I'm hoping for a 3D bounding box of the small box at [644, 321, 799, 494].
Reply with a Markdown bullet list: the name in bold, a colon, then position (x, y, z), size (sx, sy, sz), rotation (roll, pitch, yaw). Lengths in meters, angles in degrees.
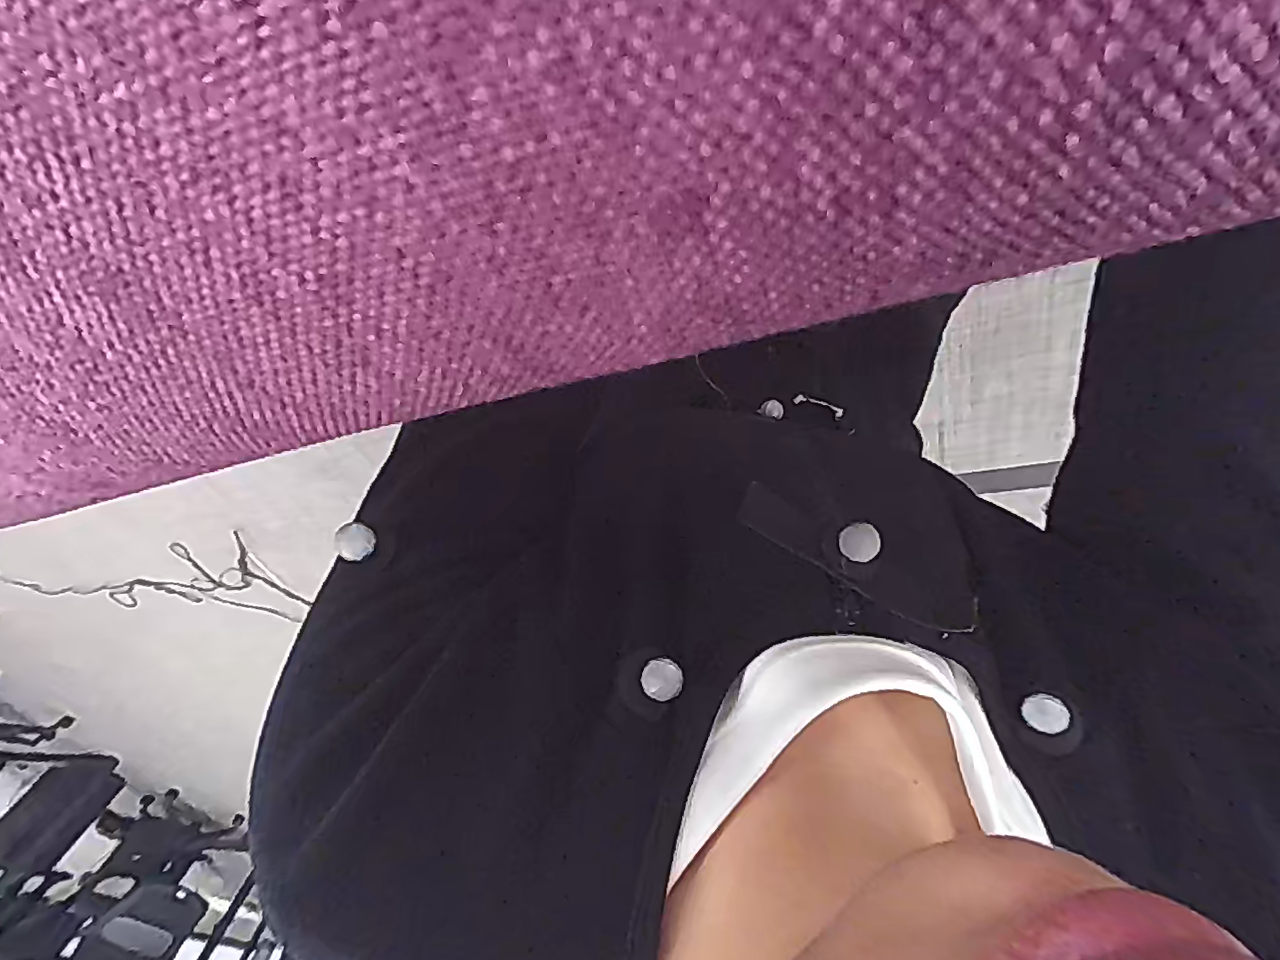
- **small box**: position (0.101, -0.102, 0.712), size (0.179, 0.168, 0.176), rotation (4, 129, 7)
